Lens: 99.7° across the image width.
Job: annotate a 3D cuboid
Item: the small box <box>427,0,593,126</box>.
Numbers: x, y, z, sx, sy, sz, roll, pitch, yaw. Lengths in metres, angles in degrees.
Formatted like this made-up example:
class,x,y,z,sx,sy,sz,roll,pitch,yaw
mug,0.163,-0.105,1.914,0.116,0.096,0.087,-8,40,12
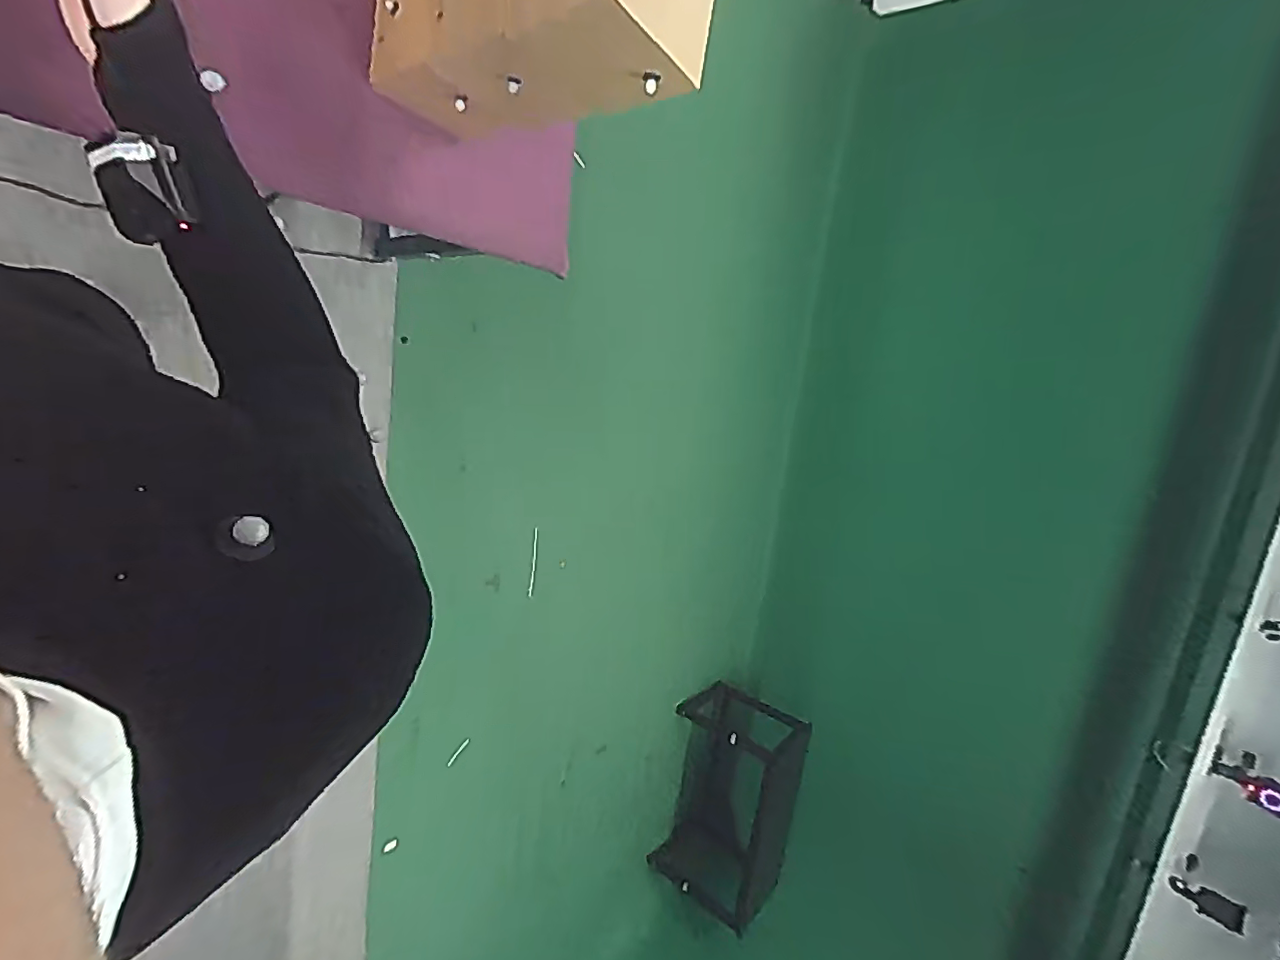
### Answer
class,x,y,z,sx,sy,sz,roll,pitch,yaw
small box,-0.168,-0.624,0.748,0.179,0.176,0.168,1,102,-53

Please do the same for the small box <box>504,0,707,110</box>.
class,x,y,z,sx,sy,sz,roll,pitch,yaw
small box,-0.036,-0.585,0.656,0.179,0.176,0.168,0,101,-53

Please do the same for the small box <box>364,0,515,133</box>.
class,x,y,z,sx,sy,sz,roll,pitch,yaw
small box,-0.296,-0.670,0.841,0.179,0.176,0.168,0,103,-53
